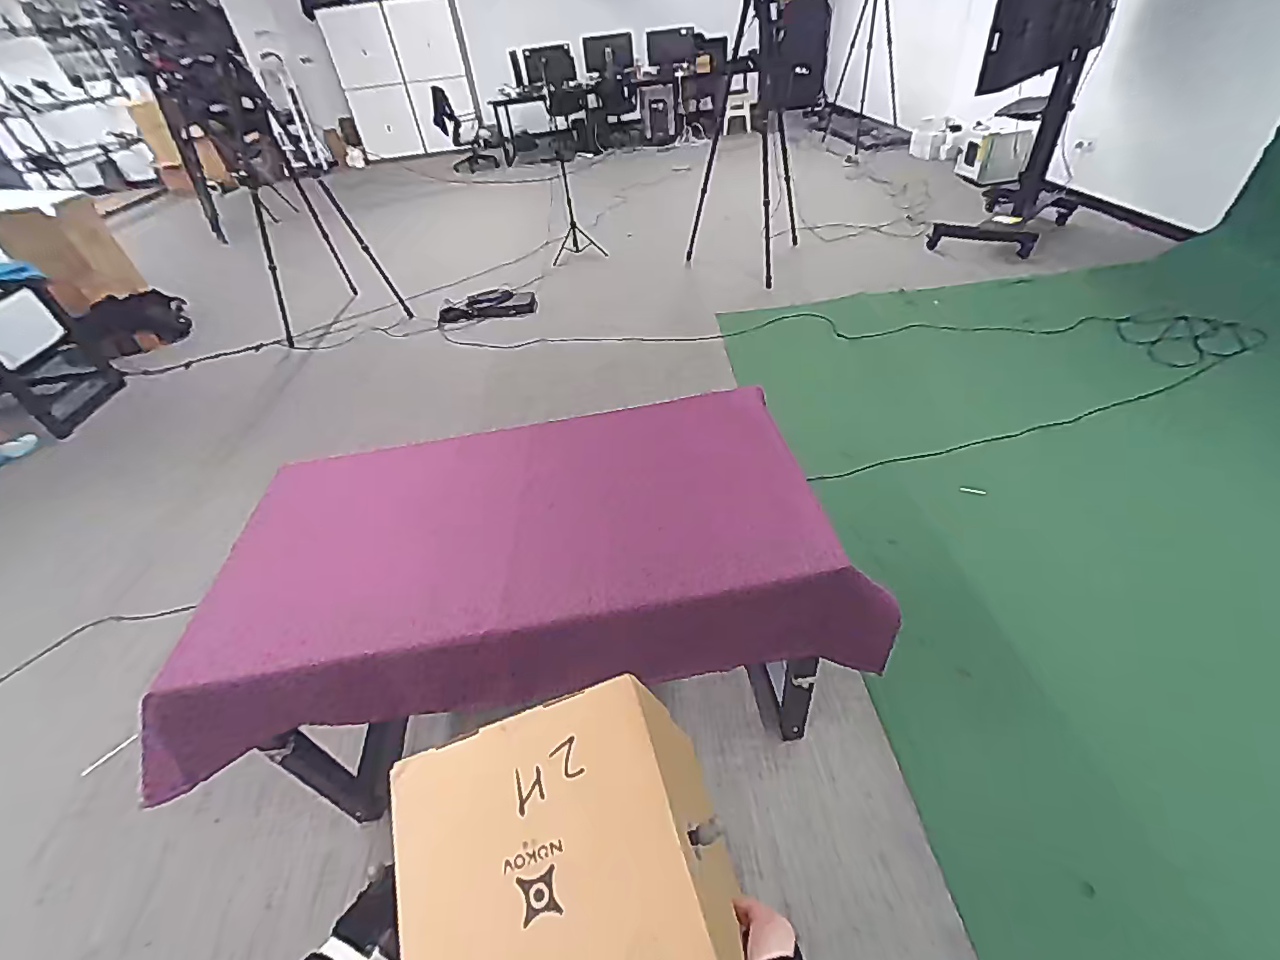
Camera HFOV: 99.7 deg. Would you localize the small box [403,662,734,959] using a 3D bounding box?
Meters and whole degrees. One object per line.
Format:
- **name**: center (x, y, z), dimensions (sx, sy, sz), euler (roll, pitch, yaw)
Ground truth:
- **small box**: center (-0.040, 0.254, 0.379), dimensions (0.168, 0.176, 0.179), euler (-20, 57, -1)
